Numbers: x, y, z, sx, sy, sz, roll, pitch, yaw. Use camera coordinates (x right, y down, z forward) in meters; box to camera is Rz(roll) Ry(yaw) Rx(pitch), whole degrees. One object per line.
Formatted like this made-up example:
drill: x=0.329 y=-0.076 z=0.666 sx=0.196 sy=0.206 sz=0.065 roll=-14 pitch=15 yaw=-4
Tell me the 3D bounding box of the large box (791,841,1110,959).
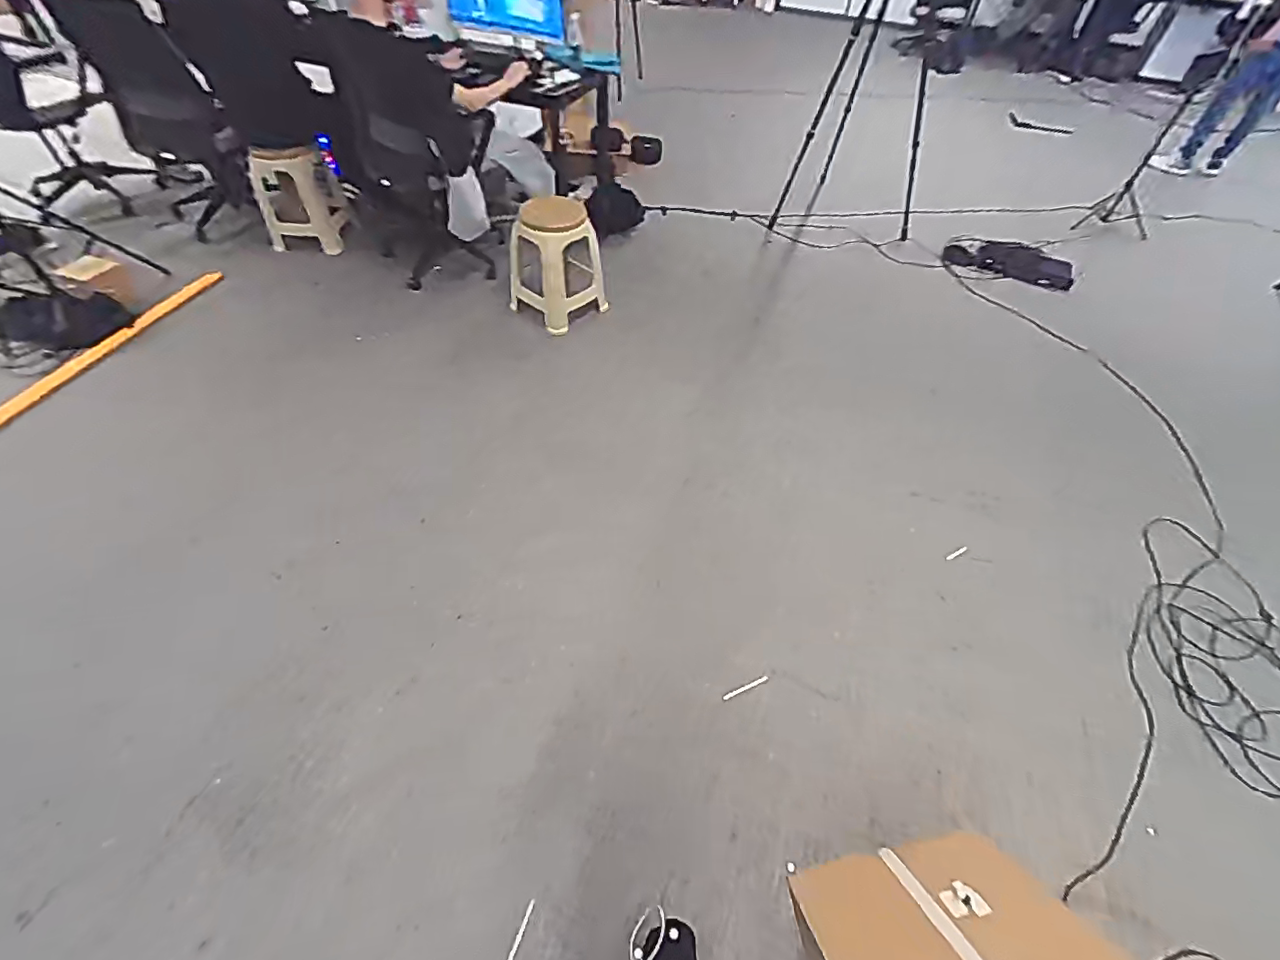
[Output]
large box: x=0.421 y=0.730 z=0.639 sx=0.320 sy=0.408 sz=0.320 roll=-10 pitch=86 yaw=-3
